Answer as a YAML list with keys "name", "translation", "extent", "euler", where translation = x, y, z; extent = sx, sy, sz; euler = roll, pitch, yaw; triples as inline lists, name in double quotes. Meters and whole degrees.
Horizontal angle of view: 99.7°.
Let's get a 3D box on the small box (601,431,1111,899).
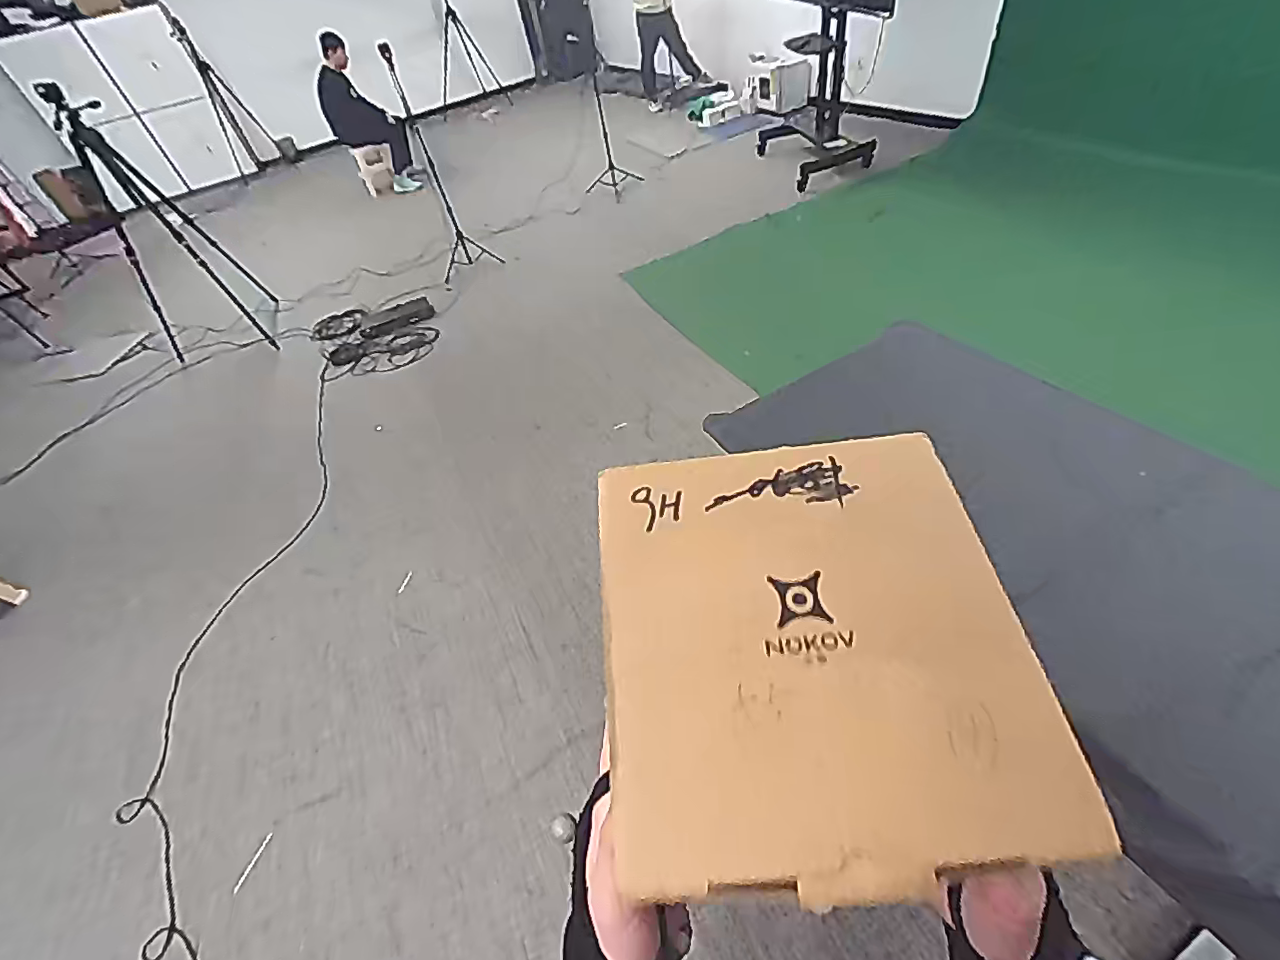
- name: "small box"
  translation: [0.071, 0.098, 0.287]
  extent: [0.168, 0.176, 0.179]
  euler: [-5, 56, 0]
